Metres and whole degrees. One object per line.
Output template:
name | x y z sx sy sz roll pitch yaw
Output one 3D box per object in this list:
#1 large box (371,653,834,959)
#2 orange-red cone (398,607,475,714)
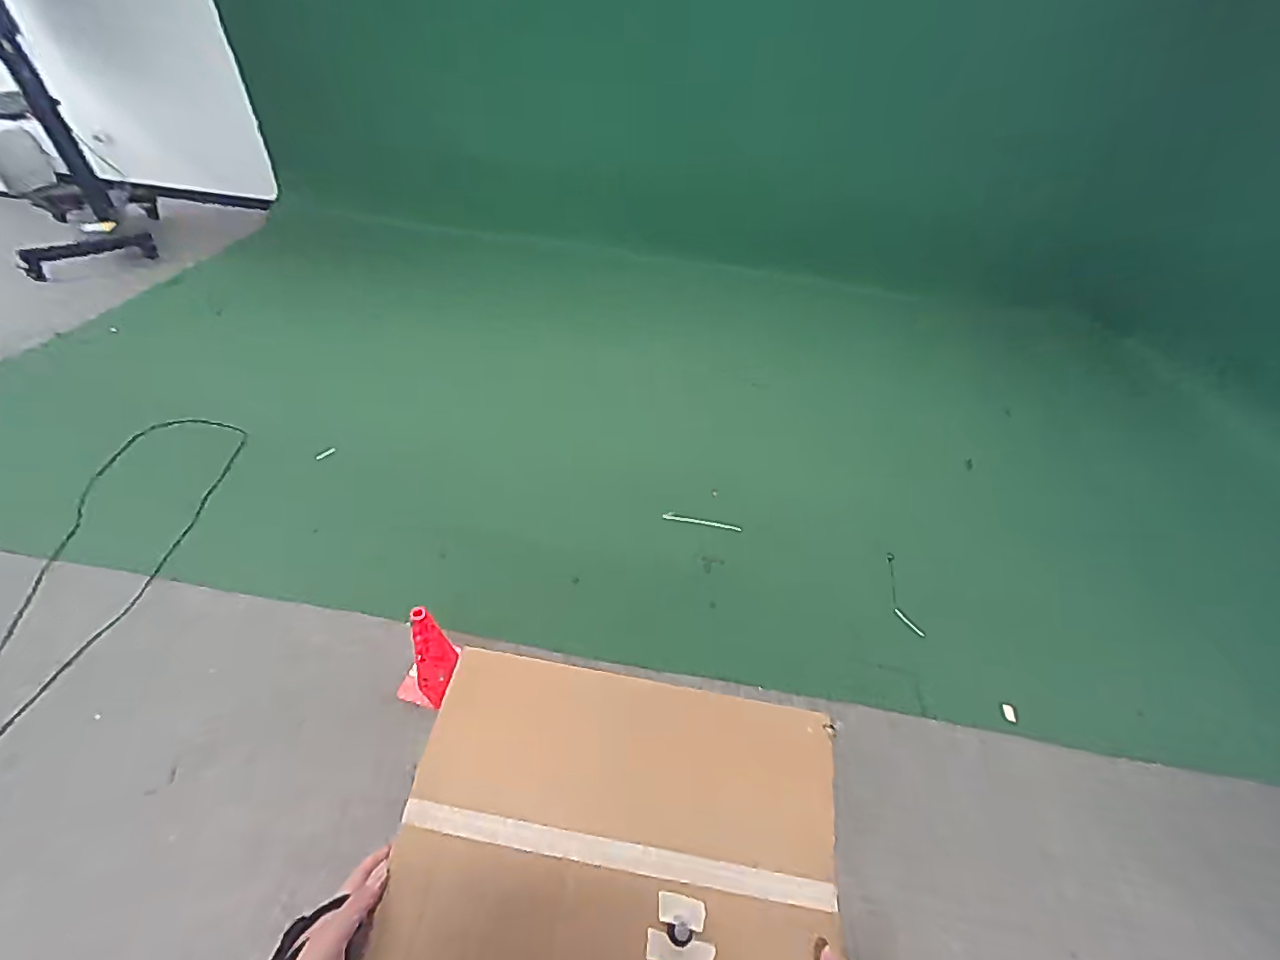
large box | -0.025 0.427 0.635 0.408 0.320 0.320 9 58 3
orange-red cone | -0.596 0.474 1.527 0.199 0.360 0.198 13 44 10
